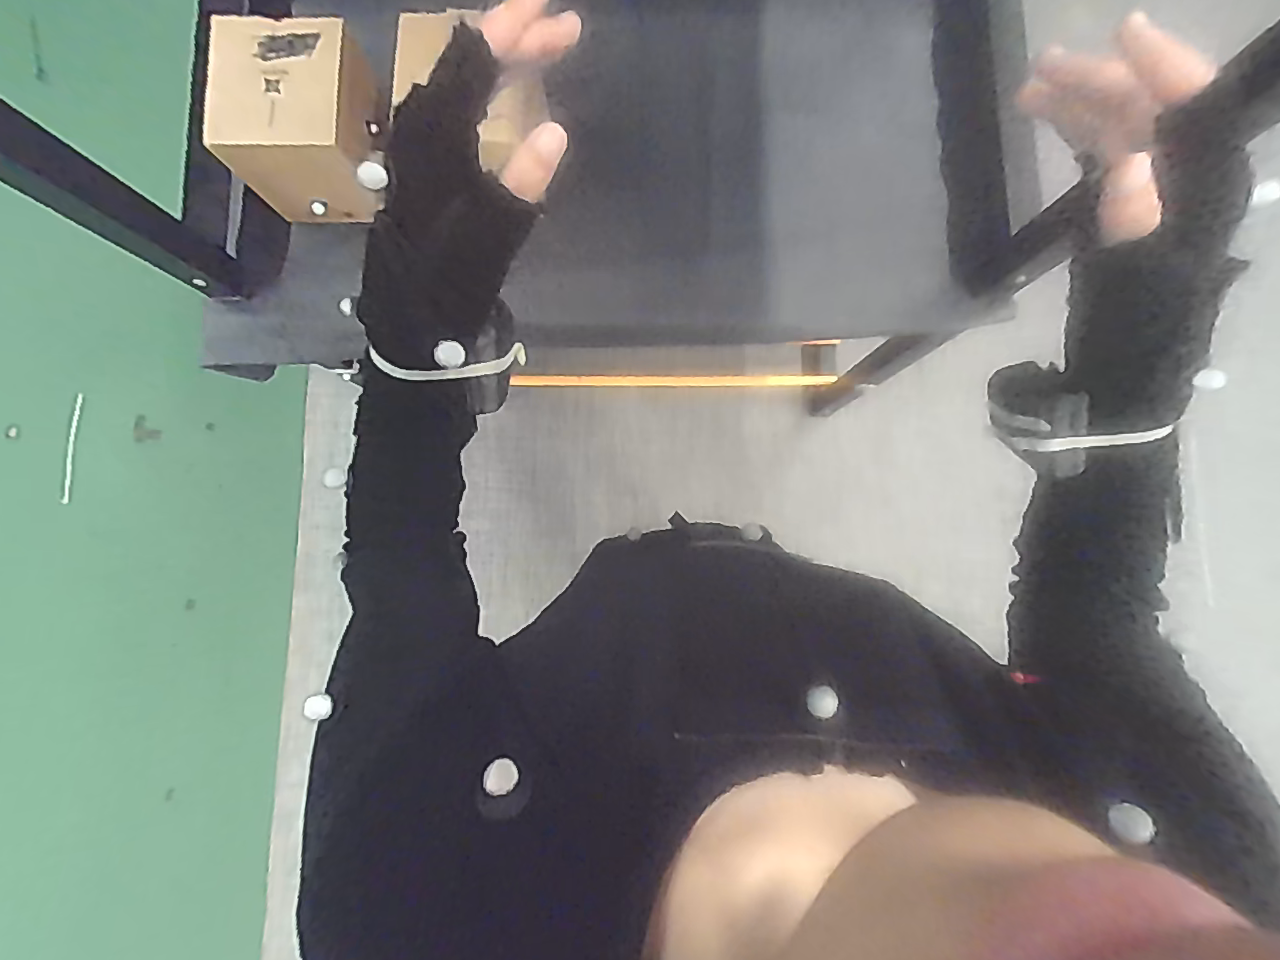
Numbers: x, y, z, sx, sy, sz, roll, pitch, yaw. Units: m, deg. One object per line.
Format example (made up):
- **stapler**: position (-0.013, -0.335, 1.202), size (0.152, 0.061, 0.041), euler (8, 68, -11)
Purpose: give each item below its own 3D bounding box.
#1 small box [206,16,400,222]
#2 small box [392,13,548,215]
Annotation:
- **small box**: position (-0.453, -0.491, 0.754), size (0.168, 0.176, 0.179), euler (0, 84, 0)
- **small box**: position (-0.225, -0.498, 0.759), size (0.168, 0.176, 0.179), euler (1, 83, 0)
